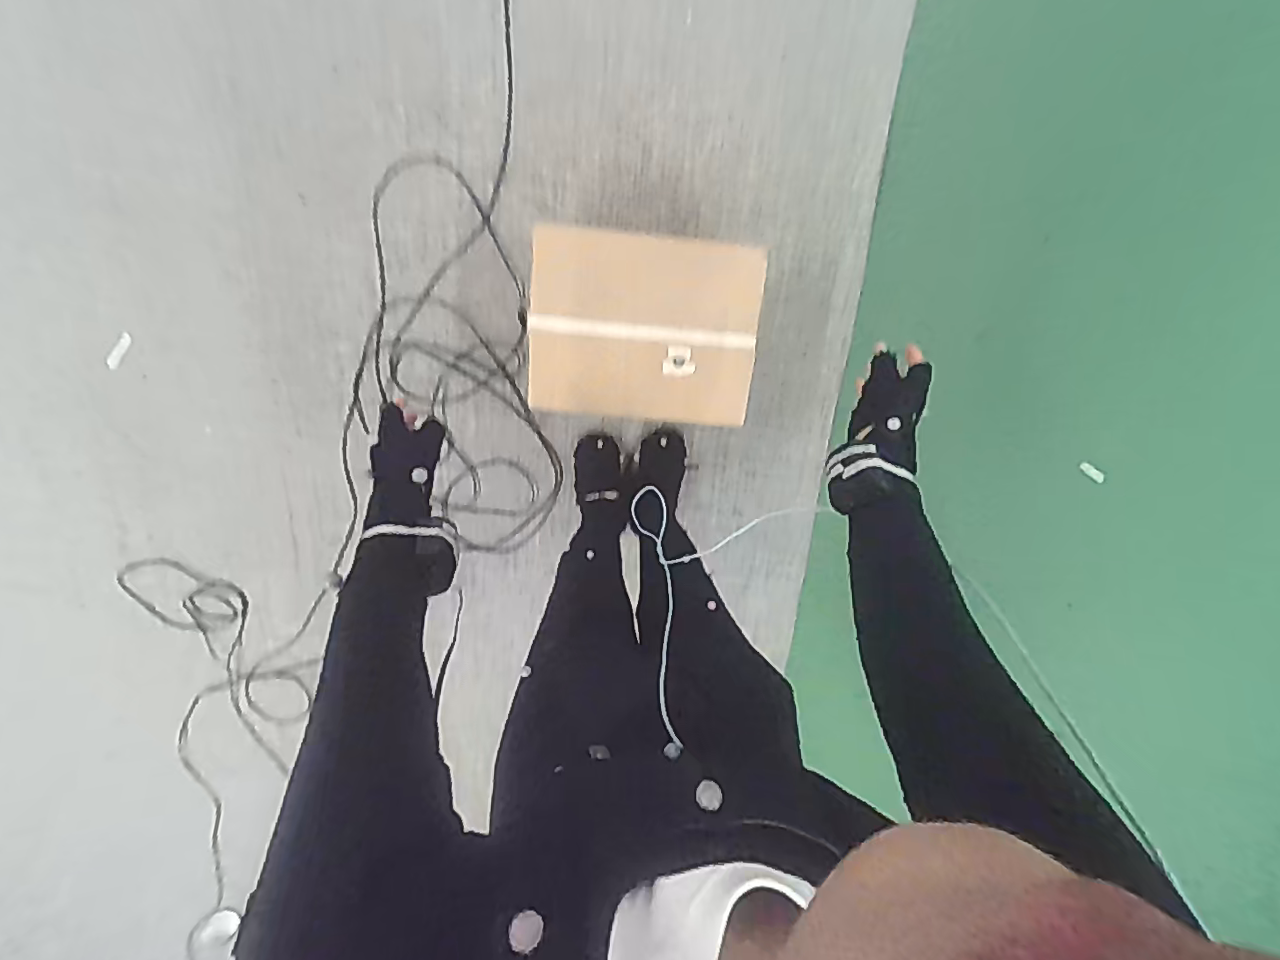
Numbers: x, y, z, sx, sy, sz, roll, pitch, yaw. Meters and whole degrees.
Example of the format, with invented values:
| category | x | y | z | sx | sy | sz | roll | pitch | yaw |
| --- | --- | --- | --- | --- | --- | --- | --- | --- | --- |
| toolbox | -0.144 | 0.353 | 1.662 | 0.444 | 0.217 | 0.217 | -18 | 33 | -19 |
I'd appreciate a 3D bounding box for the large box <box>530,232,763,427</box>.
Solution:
| category | x | y | z | sx | sy | sz | roll | pitch | yaw |
| --- | --- | --- | --- | --- | --- | --- | --- | --- | --- |
| large box | -0.004 | -0.299 | 1.107 | 0.408 | 0.320 | 0.320 | 4 | 107 | -4 |
